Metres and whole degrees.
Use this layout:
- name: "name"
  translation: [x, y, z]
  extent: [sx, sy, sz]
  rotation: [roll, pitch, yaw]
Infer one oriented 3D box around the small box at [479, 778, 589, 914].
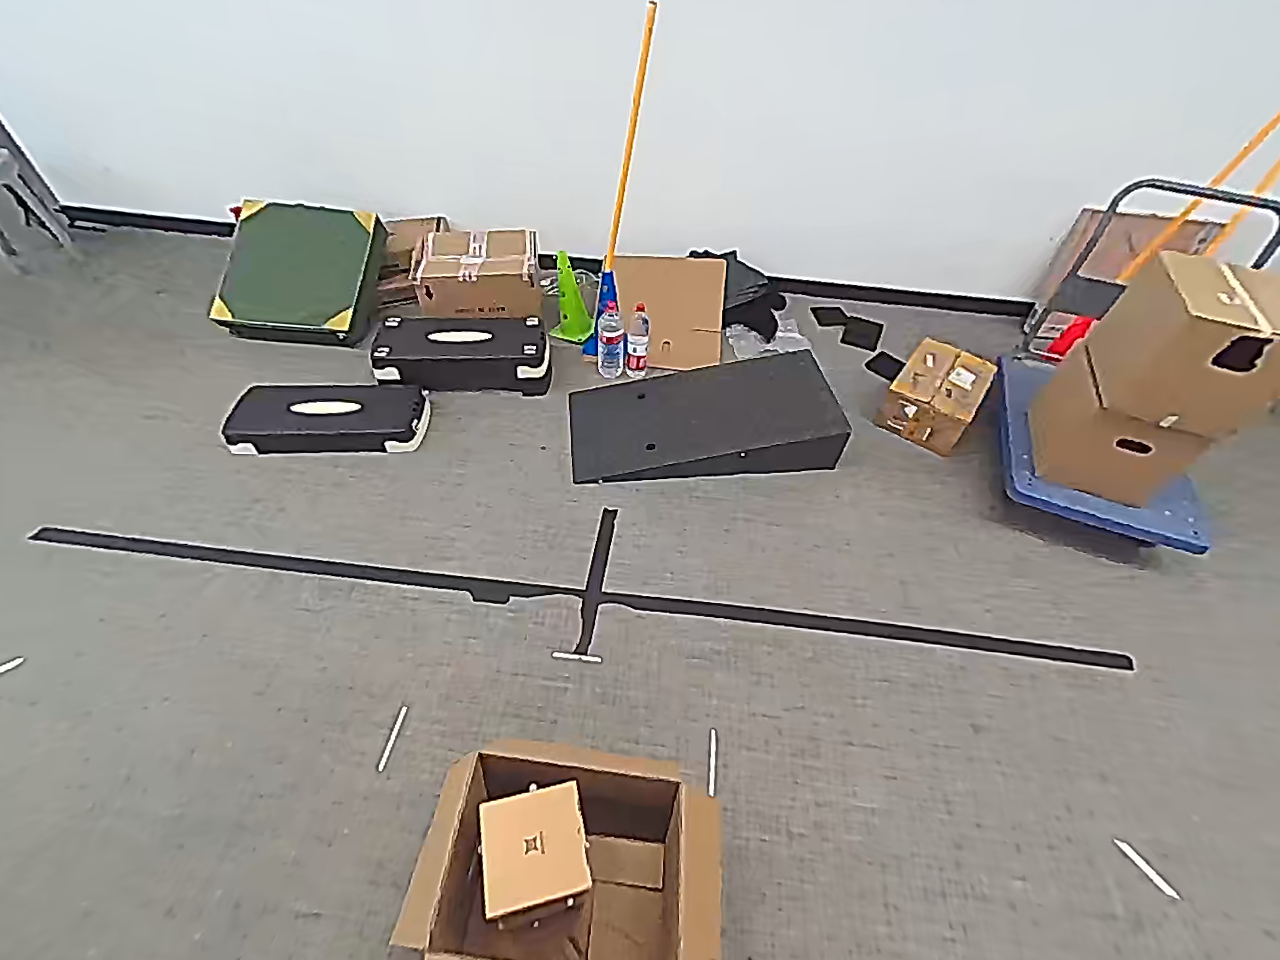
- name: "small box"
  translation: [-0.194, 0.677, 0.997]
  extent: [0.179, 0.176, 0.168]
  rotation: [-7, 52, -14]
